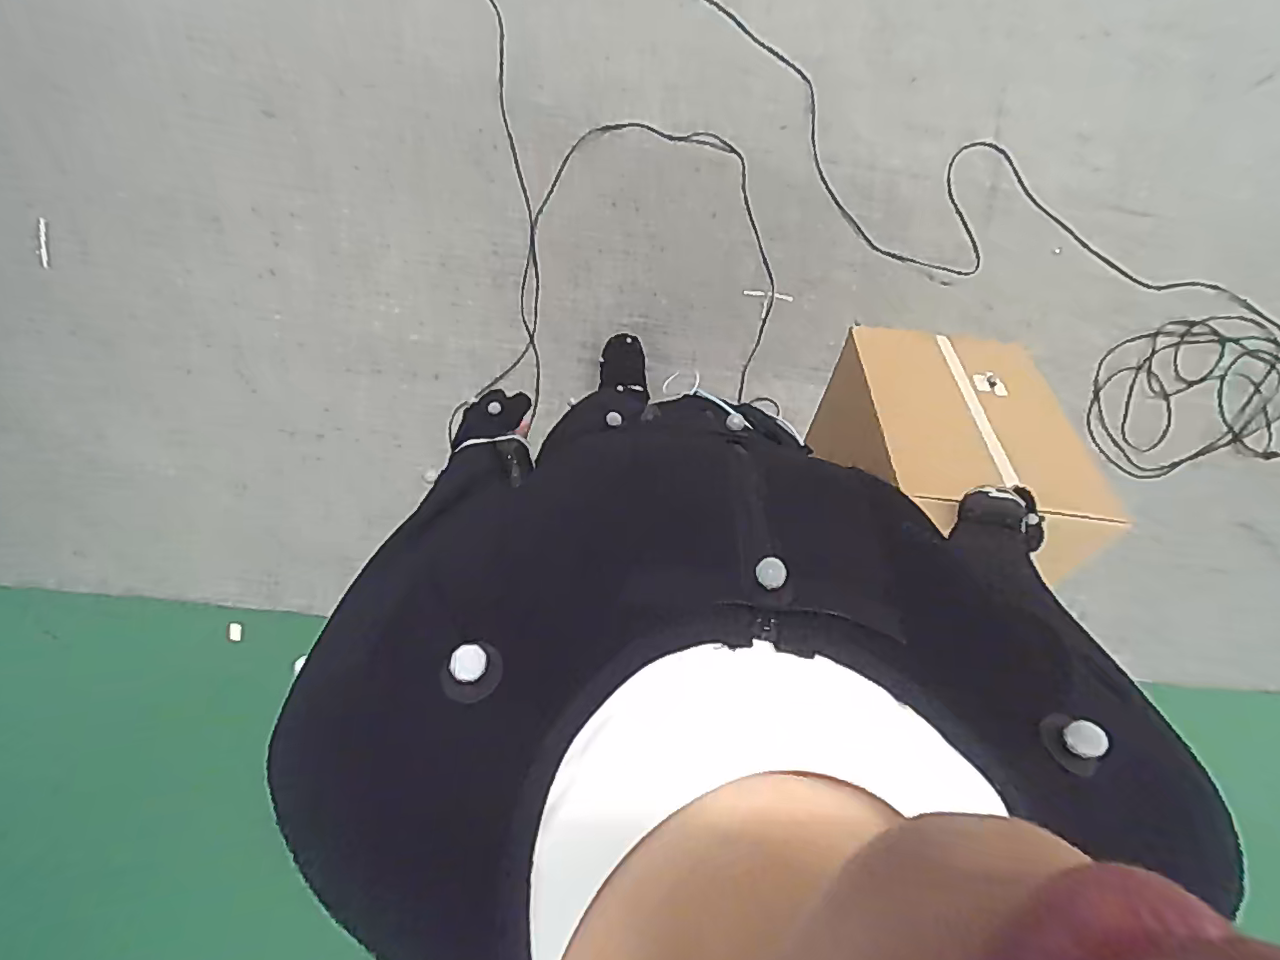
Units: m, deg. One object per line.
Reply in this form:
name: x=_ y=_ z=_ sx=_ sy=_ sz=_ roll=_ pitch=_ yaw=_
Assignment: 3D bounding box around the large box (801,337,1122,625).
large box: x=0.502 y=-0.001 z=0.964 sx=0.320 sy=0.408 sz=0.320 roll=7 pitch=137 yaw=-1
